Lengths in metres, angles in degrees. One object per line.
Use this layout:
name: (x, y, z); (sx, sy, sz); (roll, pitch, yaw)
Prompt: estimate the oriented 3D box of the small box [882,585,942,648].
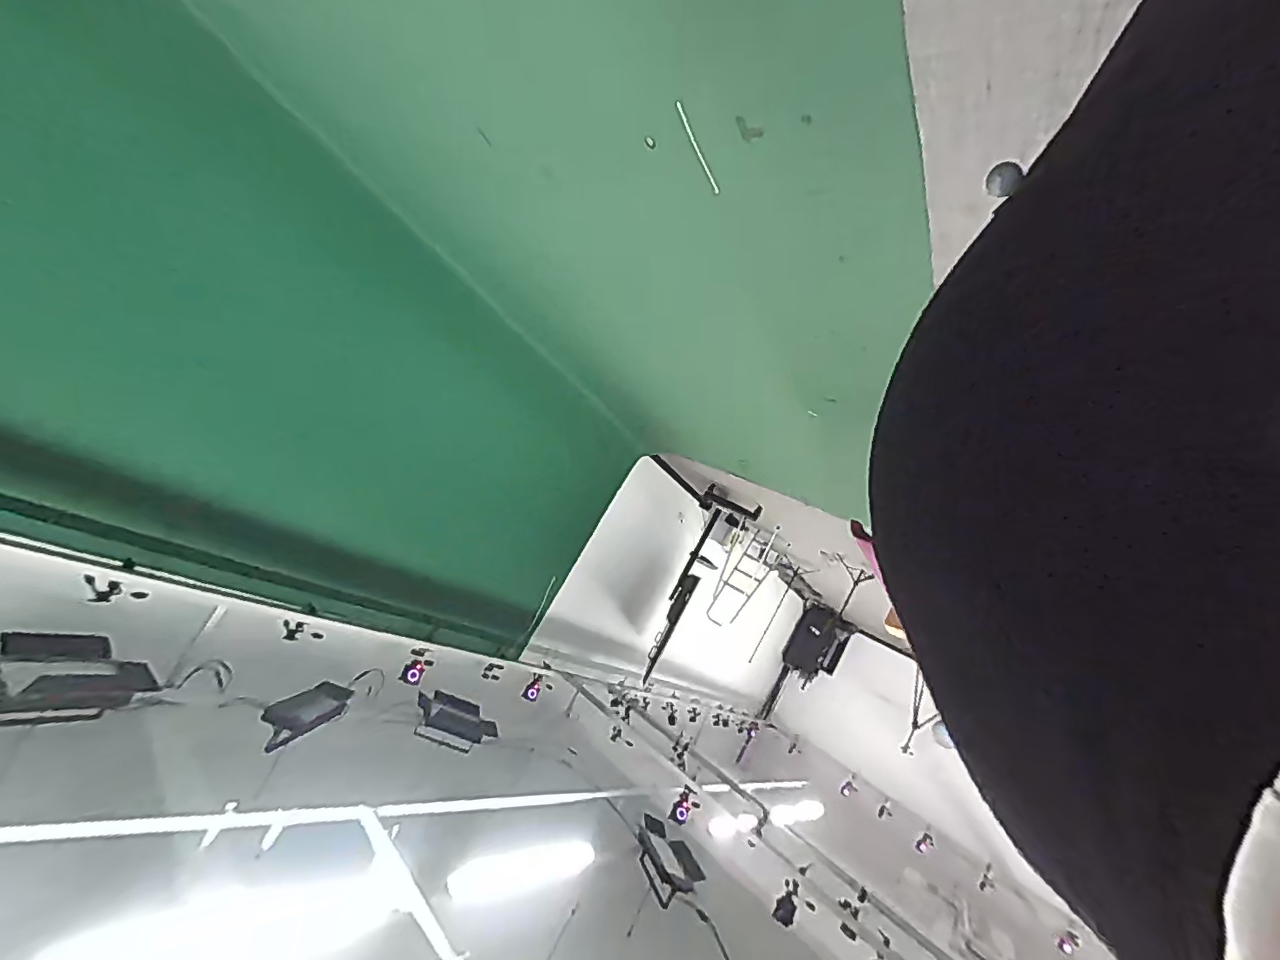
small box: (1.100, 0.546, 2.179); (0.168, 0.176, 0.179); (23, 167, 37)
